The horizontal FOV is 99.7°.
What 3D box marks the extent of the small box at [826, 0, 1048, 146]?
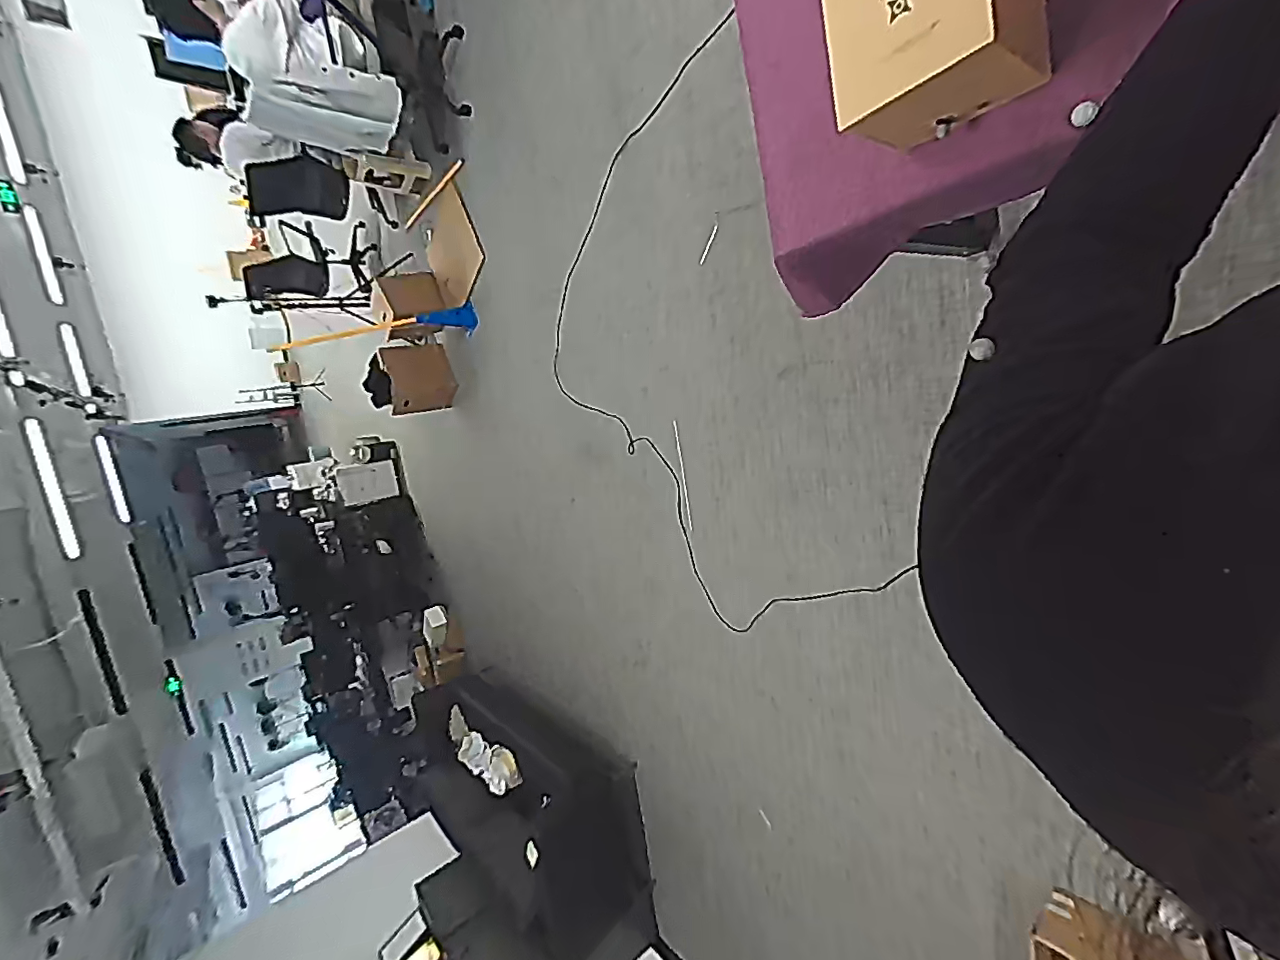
[{"bbox_3d":[0.336,-0.515,0.613,0.168,0.176,0.179,0,103,53],"label":"small box"}]
